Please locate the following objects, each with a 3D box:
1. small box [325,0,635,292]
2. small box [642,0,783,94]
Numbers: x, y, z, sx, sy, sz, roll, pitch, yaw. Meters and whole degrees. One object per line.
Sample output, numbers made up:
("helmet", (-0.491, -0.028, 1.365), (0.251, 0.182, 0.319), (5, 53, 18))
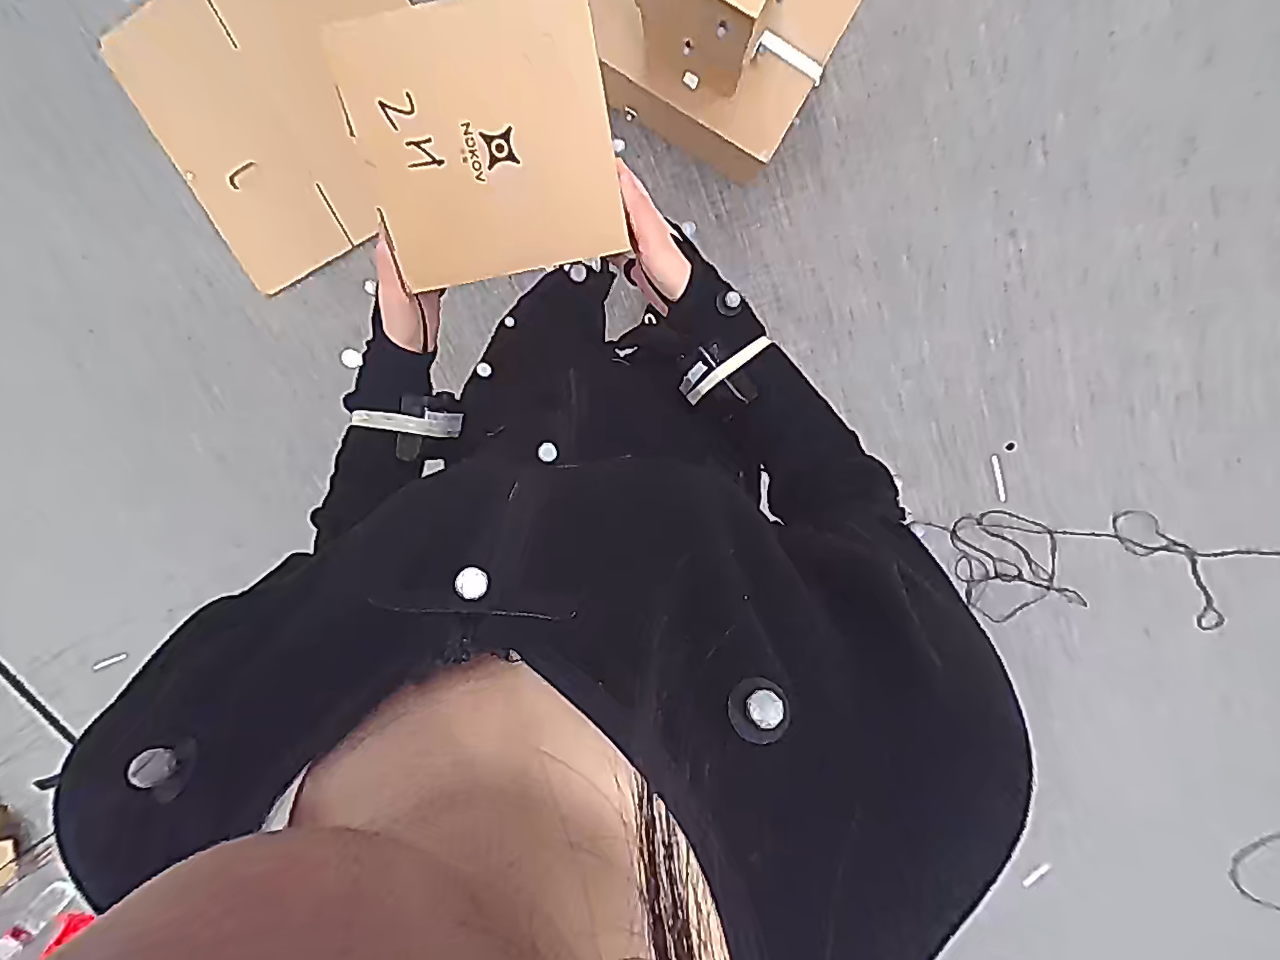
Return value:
("small box", (-0.110, -0.263, 0.445), (0.179, 0.176, 0.168), (-12, 116, -1))
("small box", (0.118, -0.732, 0.824), (0.179, 0.176, 0.168), (25, 112, -7))
